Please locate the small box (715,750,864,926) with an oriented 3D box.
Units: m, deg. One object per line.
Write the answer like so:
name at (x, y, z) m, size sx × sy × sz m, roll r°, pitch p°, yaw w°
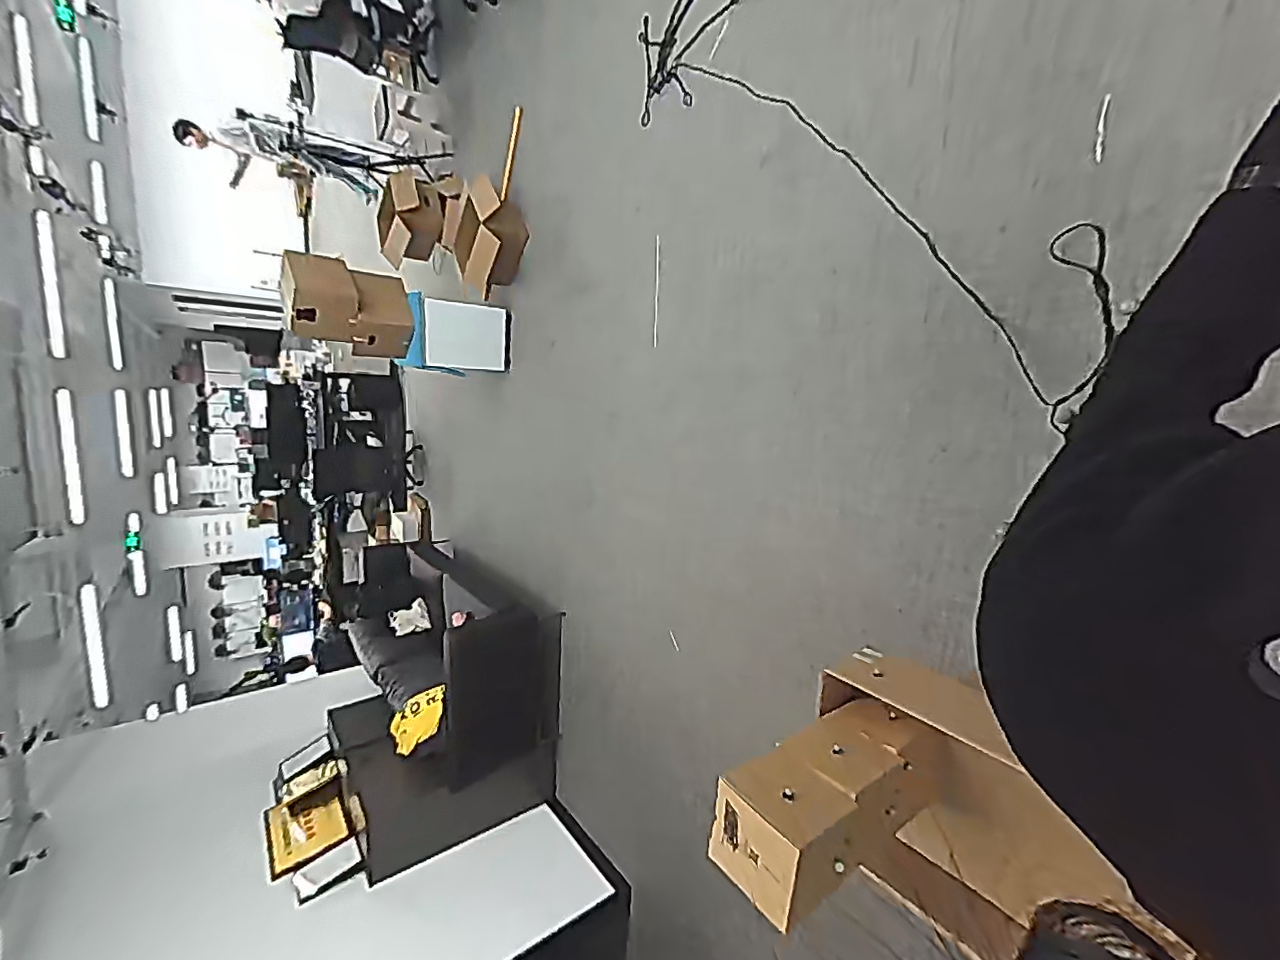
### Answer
small box at (0.259, 0.606, 0.949) m, size 0.179 × 0.176 × 0.168 m, roll 20°, pitch 109°, yaw 50°
